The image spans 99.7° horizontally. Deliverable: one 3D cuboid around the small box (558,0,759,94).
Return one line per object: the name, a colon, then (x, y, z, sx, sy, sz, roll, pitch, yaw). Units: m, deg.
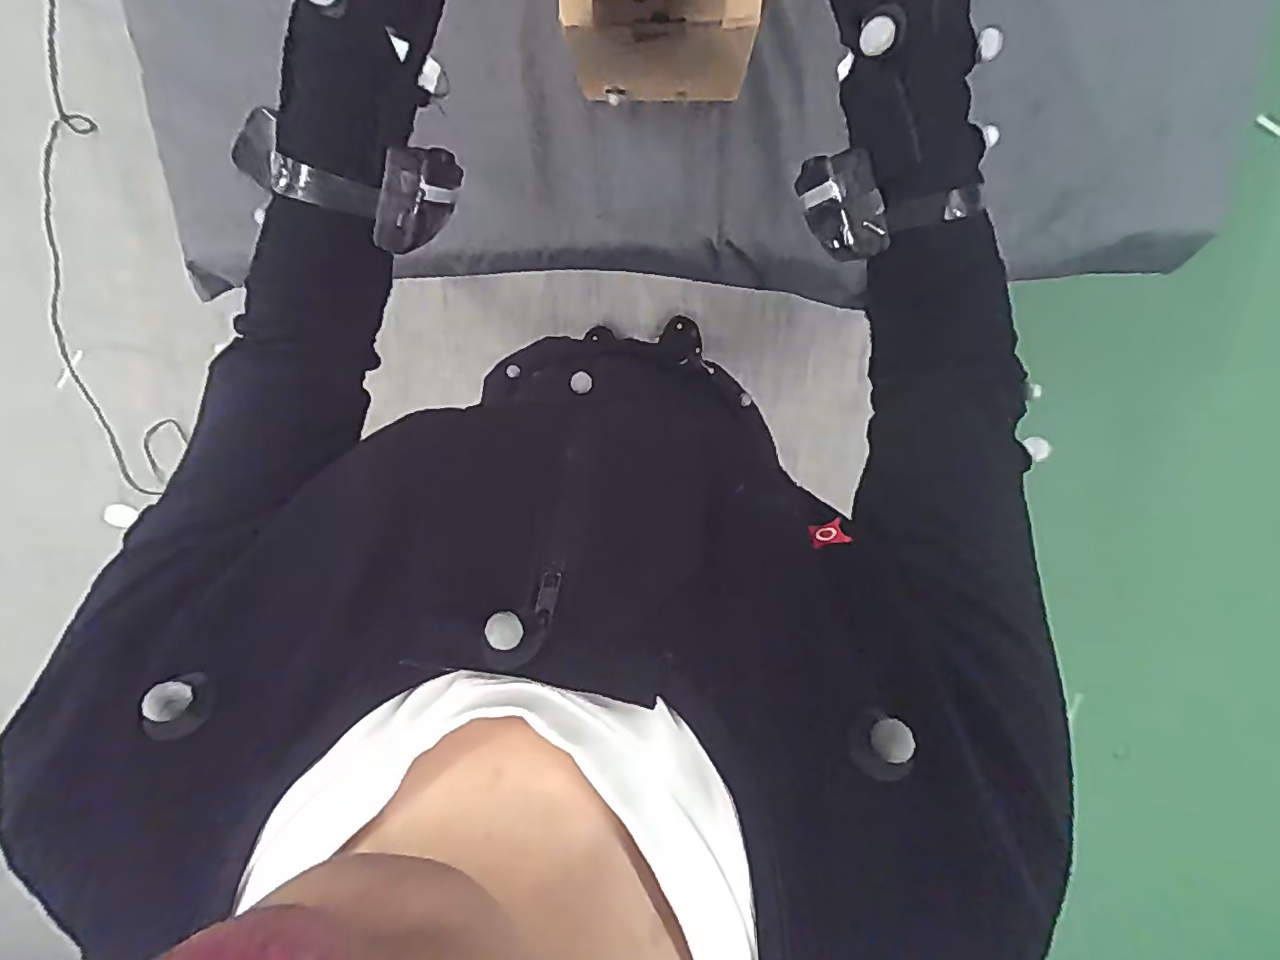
small box: (0.023, -0.478, 0.488, 0.168, 0.176, 0.179, 2, 106, 3)
